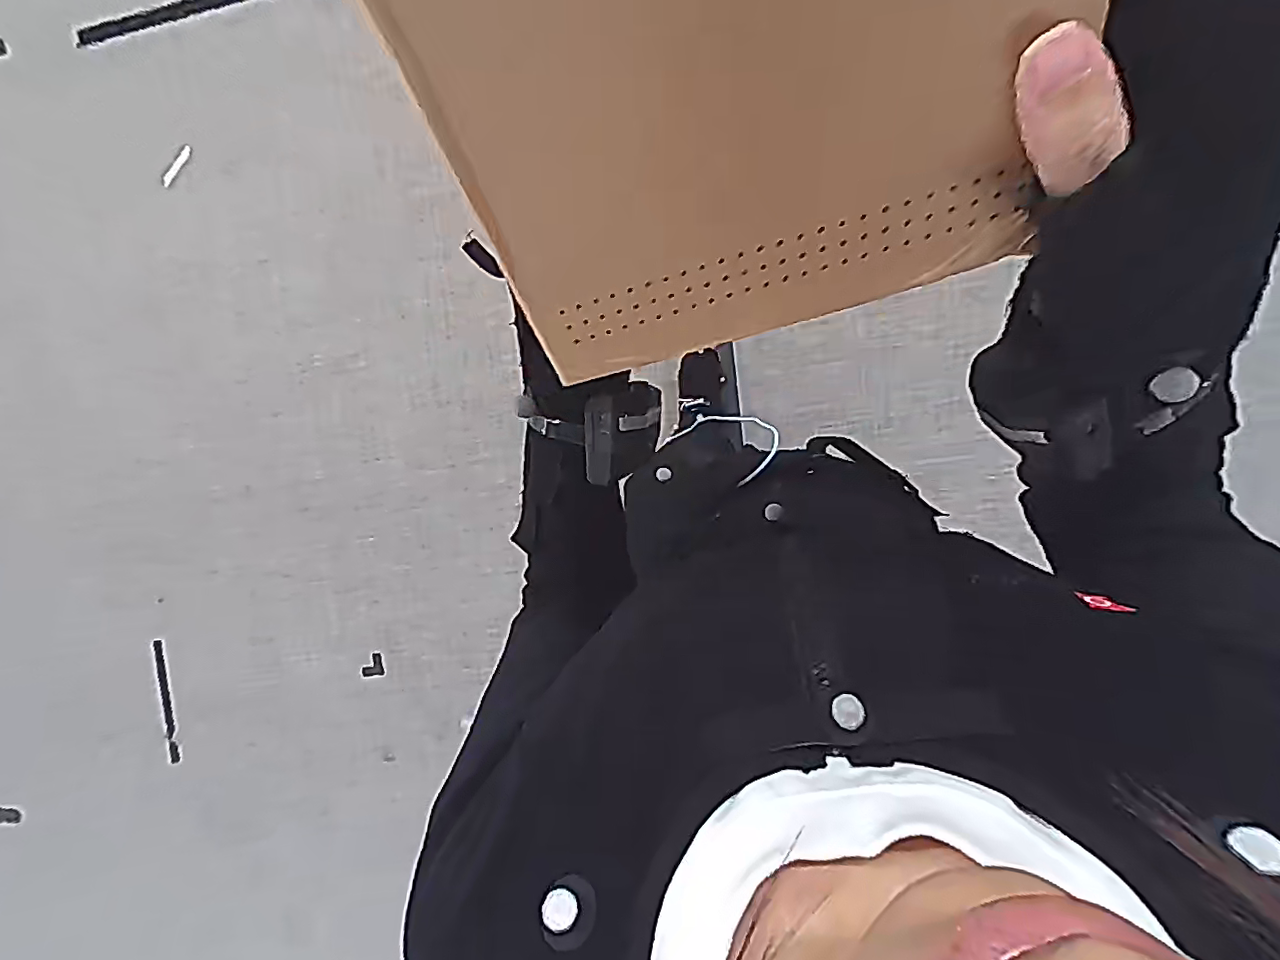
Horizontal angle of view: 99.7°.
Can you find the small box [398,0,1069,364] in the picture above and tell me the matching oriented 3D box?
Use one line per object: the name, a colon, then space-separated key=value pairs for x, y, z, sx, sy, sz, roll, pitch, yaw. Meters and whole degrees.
small box: x=0.028 y=-0.167 z=0.199 sx=0.179 sy=0.168 sz=0.176 roll=-13 pitch=136 yaw=13
